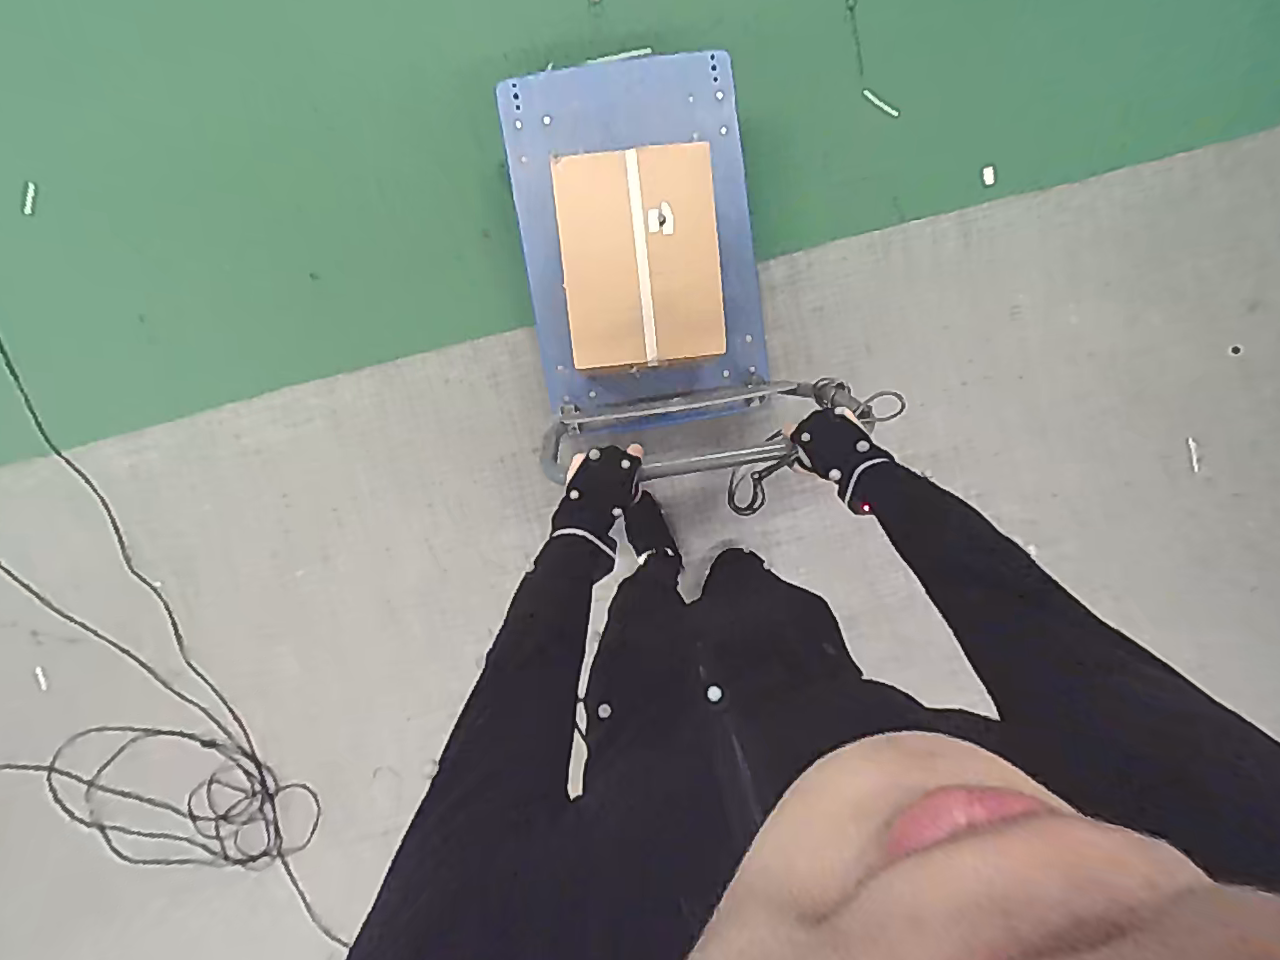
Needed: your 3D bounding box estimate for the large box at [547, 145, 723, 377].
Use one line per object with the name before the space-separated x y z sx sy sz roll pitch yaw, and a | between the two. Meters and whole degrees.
large box | -0.010 -0.457 1.219 0.320 0.320 0.408 -6 98 -2
